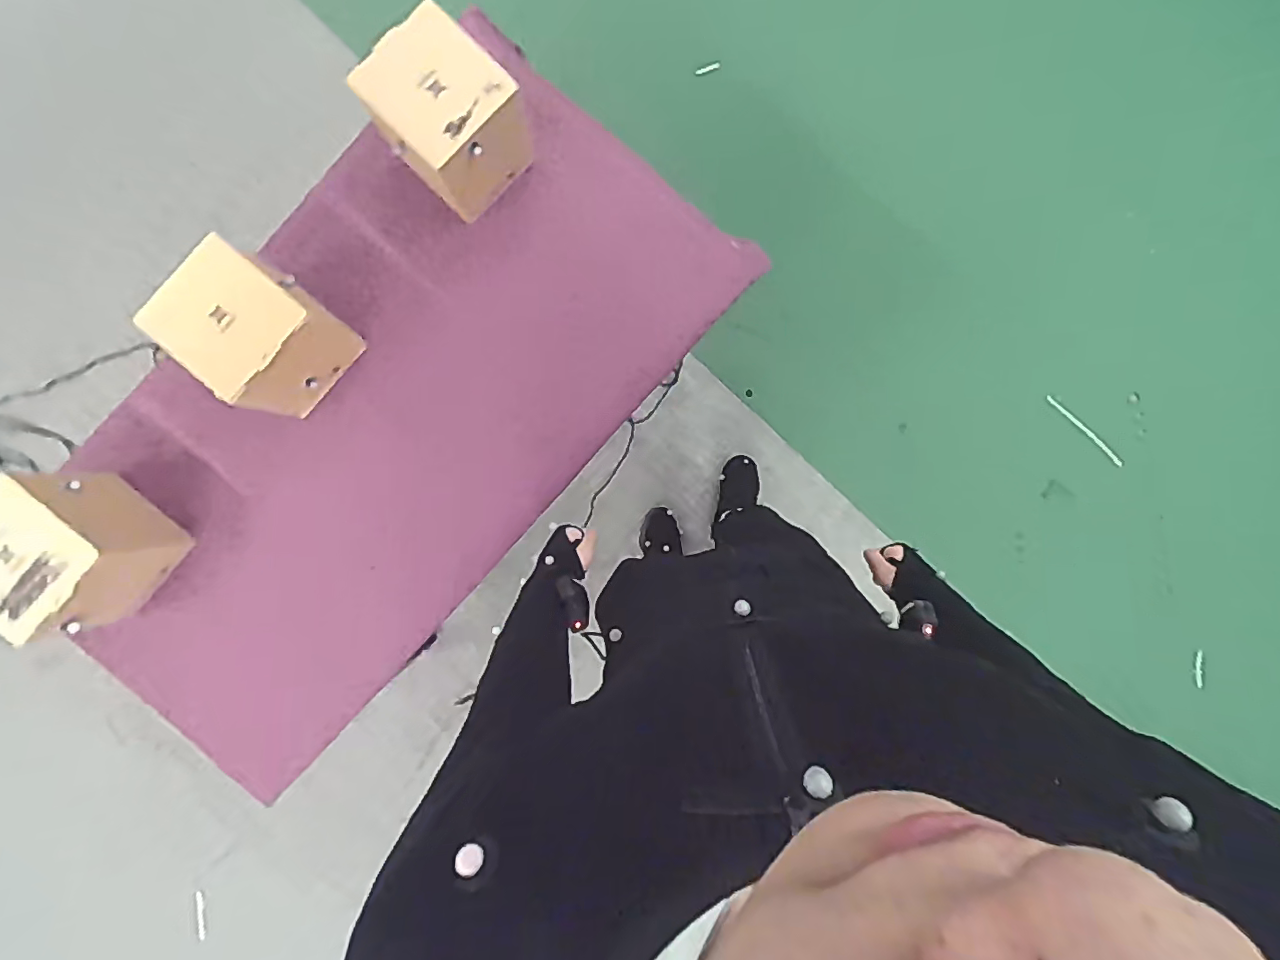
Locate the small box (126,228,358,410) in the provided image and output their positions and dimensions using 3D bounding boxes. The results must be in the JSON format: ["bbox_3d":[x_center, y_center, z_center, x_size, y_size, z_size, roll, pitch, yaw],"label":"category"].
[{"bbox_3d":[-0.568,-0.221,0.800,0.179,0.176,0.168,40,88,-2],"label":"small box"}]

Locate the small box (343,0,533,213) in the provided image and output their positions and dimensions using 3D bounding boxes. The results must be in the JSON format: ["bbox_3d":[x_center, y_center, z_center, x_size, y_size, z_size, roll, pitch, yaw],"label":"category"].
[{"bbox_3d":[-0.286,-0.545,0.807,0.179,0.176,0.168,44,90,-2],"label":"small box"}]
